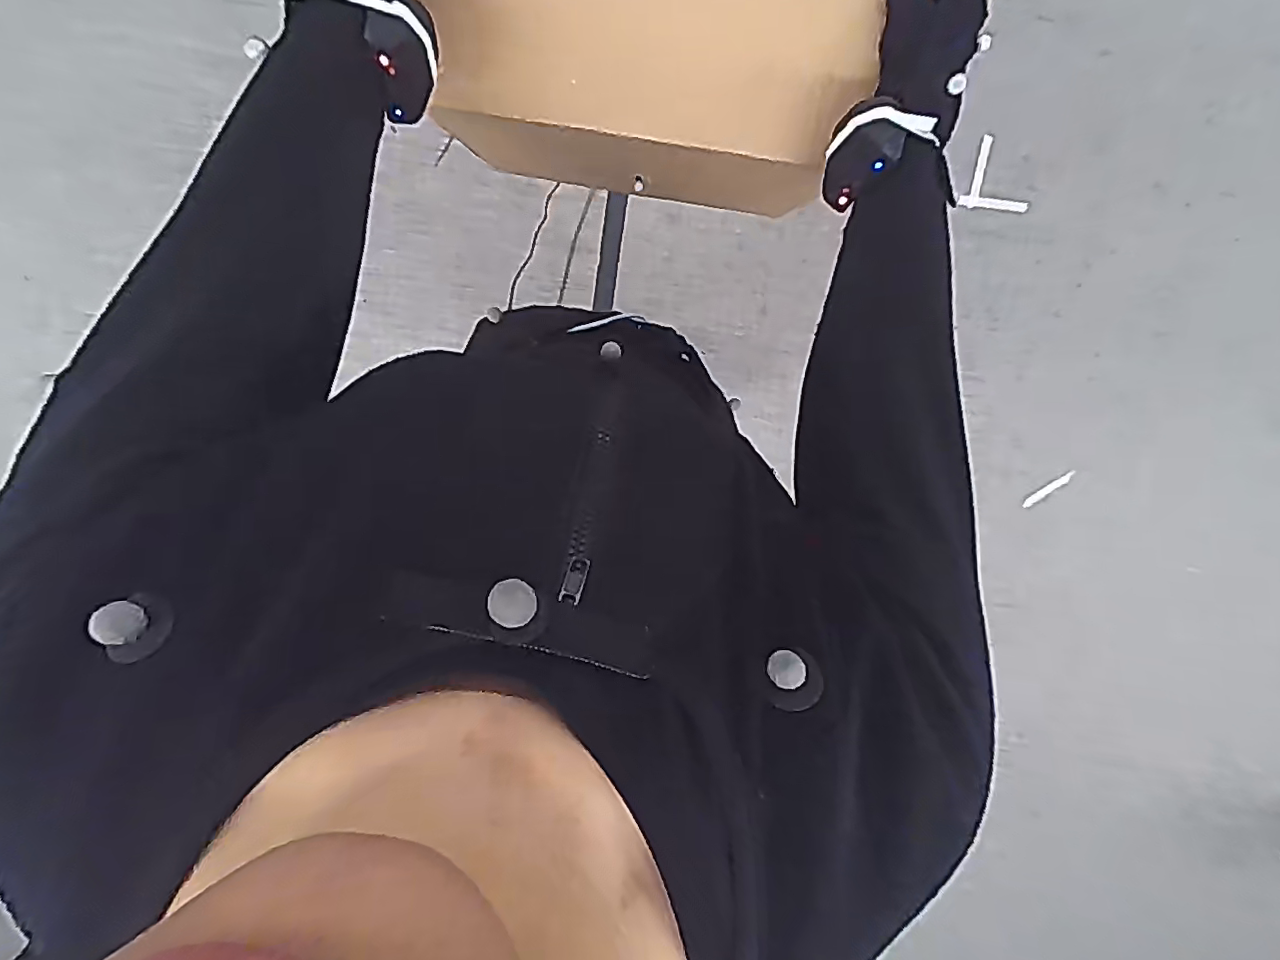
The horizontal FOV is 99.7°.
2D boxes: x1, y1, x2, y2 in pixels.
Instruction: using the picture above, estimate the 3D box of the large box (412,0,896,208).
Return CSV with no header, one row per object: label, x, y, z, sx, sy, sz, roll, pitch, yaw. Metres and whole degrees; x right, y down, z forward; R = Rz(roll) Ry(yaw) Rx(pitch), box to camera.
large box,0.022,-0.496,0.567,0.408,0.320,0.320,8,108,-2
